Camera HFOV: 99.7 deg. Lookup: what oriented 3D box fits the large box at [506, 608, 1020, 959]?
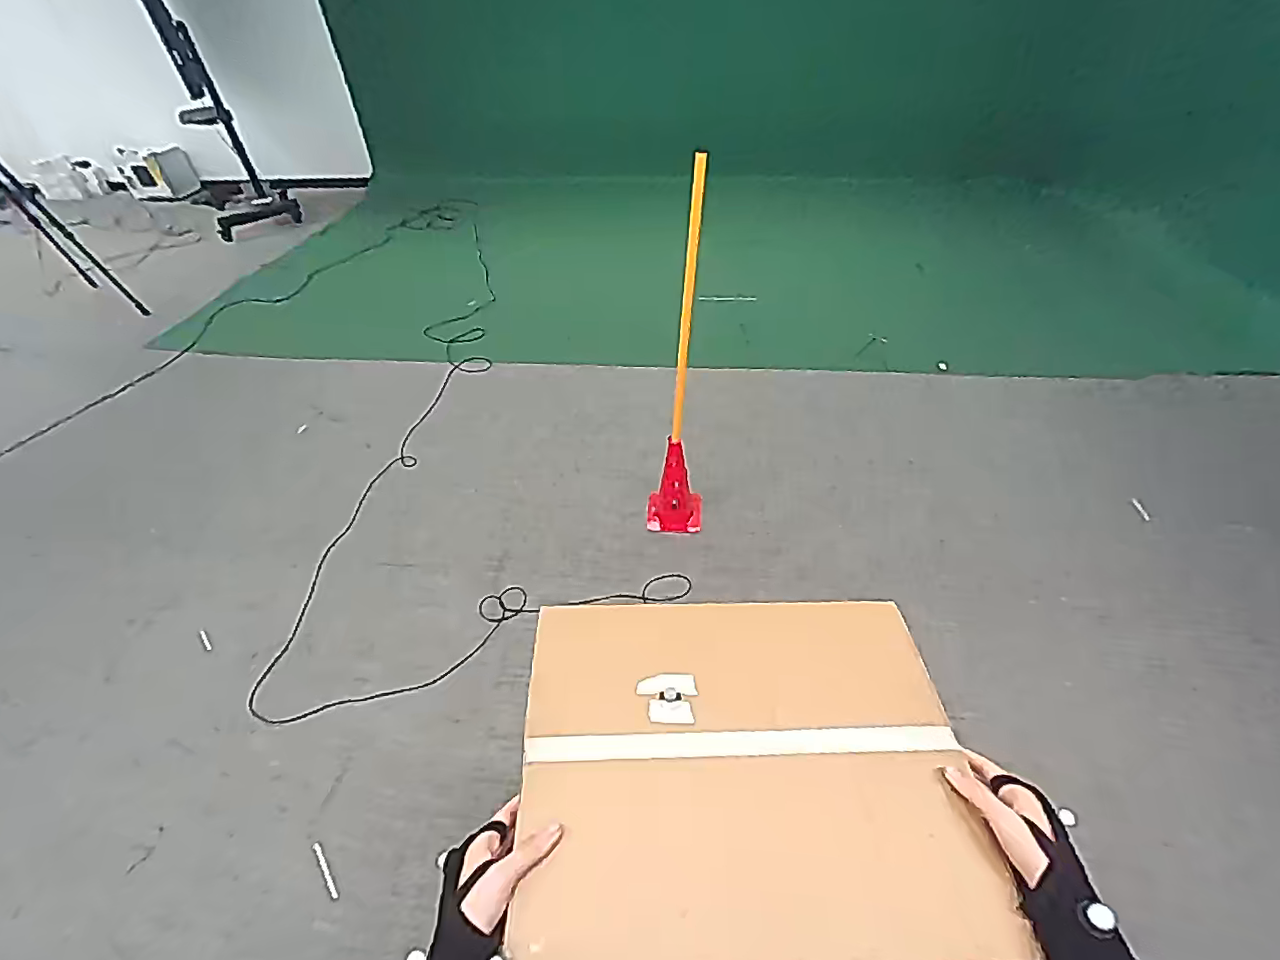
[{"bbox_3d":[0.092,0.367,0.616,0.408,0.320,0.320,-1,43,-2],"label":"large box"}]
